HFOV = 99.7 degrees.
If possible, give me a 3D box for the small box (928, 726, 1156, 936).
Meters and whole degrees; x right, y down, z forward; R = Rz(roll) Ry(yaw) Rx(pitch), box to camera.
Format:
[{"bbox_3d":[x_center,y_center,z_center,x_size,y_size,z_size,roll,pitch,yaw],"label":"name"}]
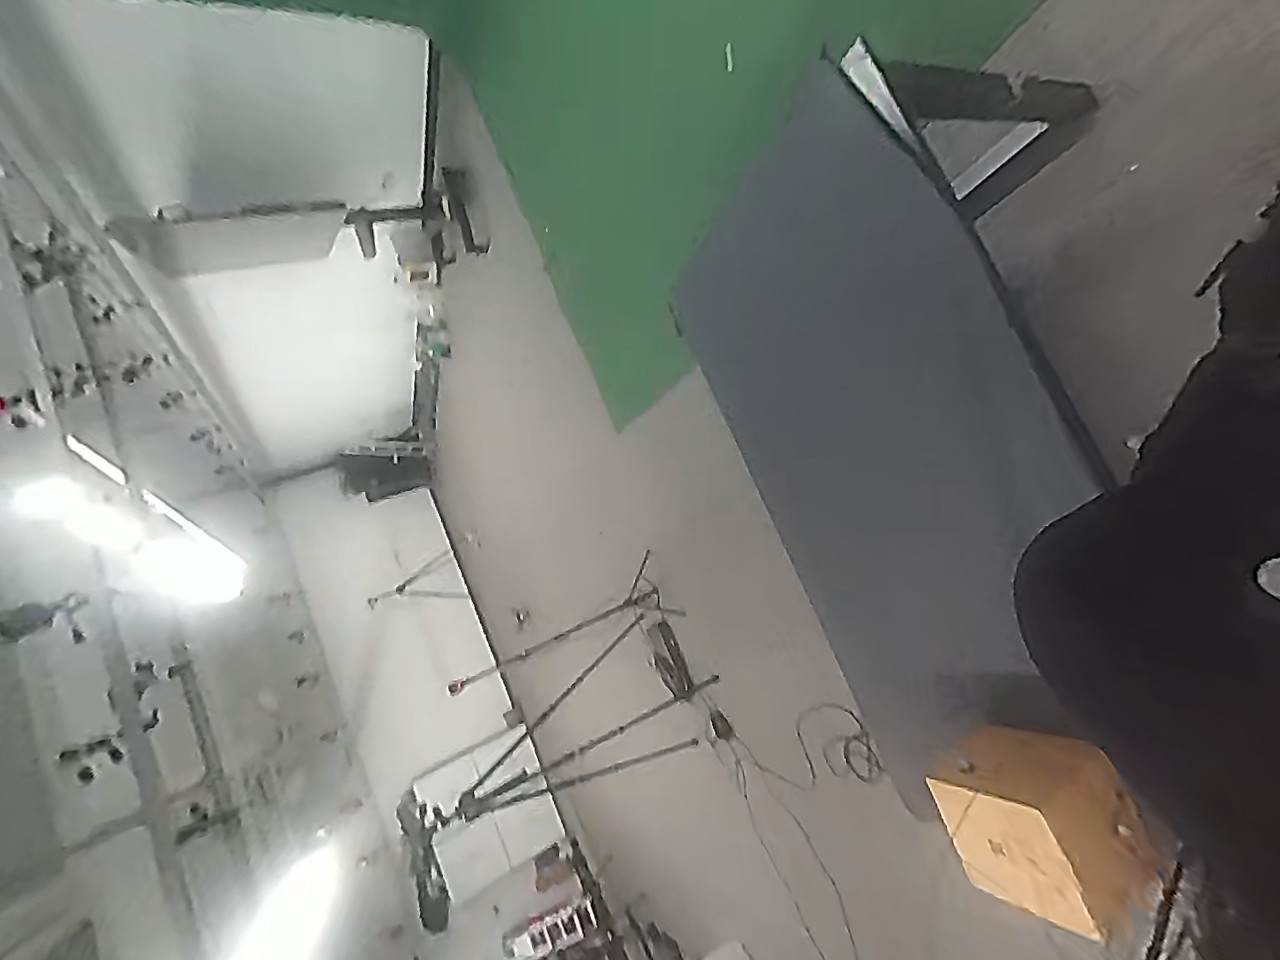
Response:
[{"bbox_3d":[0.565,0.475,0.770,0.179,0.176,0.168,-34,77,62],"label":"small box"}]
